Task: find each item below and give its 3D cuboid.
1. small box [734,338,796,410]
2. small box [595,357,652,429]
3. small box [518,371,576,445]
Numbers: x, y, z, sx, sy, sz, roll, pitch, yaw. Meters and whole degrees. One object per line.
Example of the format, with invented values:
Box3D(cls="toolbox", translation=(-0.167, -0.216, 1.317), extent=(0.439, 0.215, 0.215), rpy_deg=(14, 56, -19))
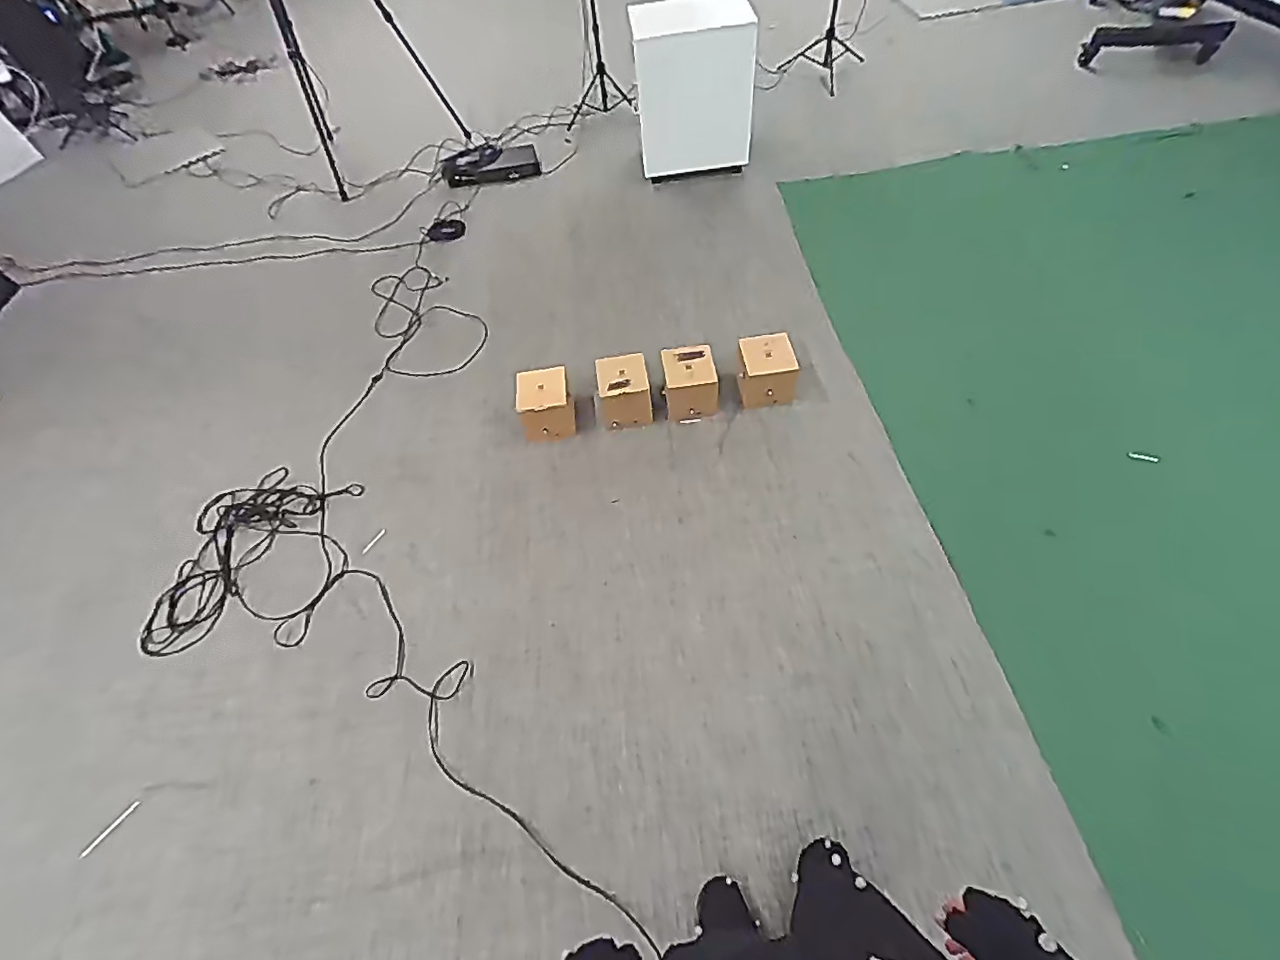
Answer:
Box3D(cls="small box", translation=(0.422, -0.356, 1.849), extent=(0.168, 0.176, 0.179), rpy_deg=(-7, 56, 1))
Box3D(cls="small box", translation=(-0.054, -0.290, 1.855), extent=(0.168, 0.176, 0.179), rpy_deg=(-9, 55, 1))
Box3D(cls="small box", translation=(-0.316, -0.245, 1.857), extent=(0.168, 0.176, 0.179), rpy_deg=(-9, 56, 1))
